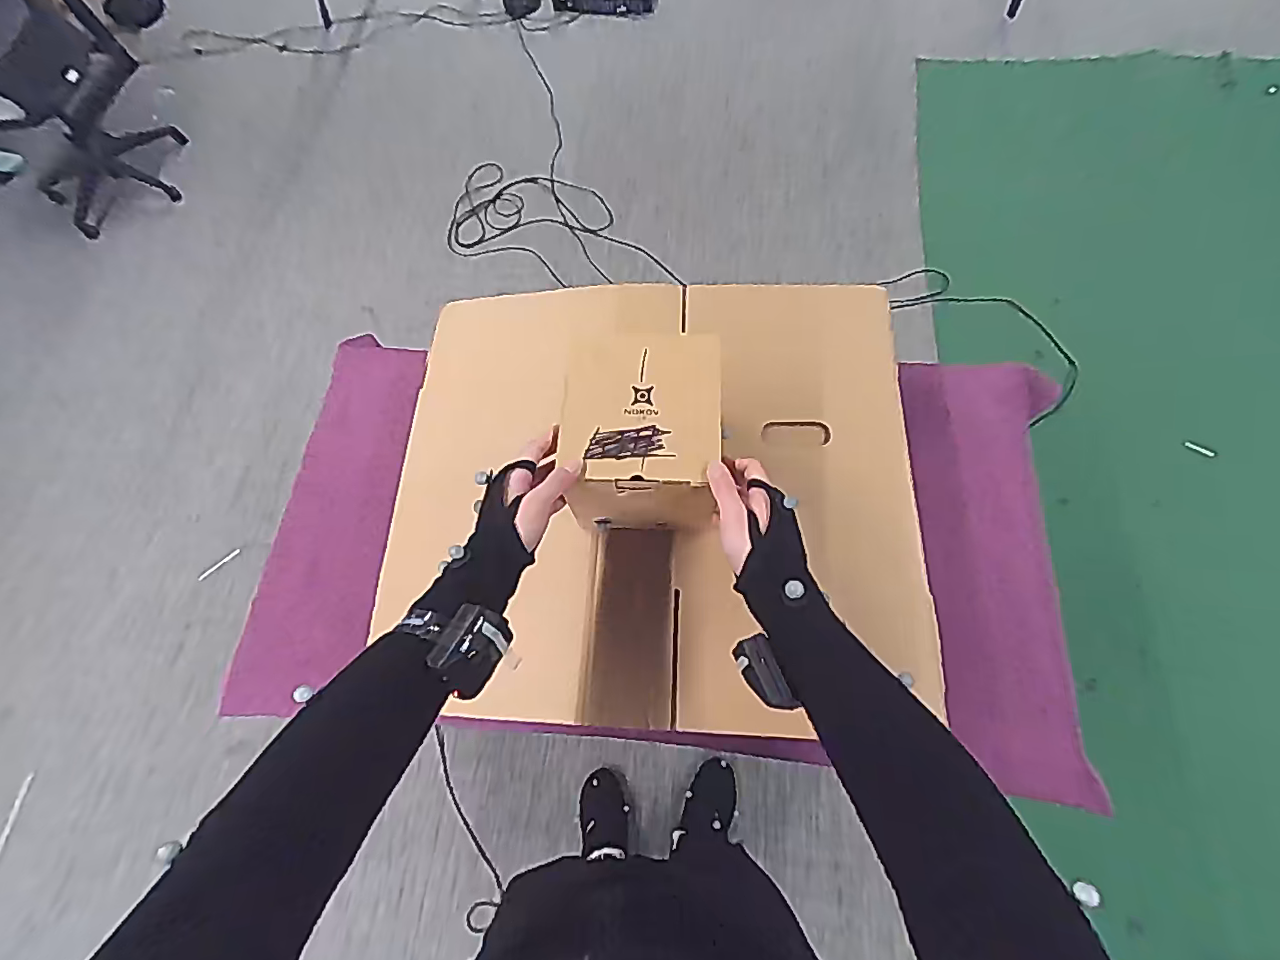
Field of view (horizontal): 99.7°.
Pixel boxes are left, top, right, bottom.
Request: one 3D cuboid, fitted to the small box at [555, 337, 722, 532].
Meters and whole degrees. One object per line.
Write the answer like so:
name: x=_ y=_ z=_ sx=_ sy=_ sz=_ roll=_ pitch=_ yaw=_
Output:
small box: x=0.006 y=-0.044 z=0.626 sx=0.168 sy=0.176 sz=0.179 roll=1 pitch=68 yaw=3
